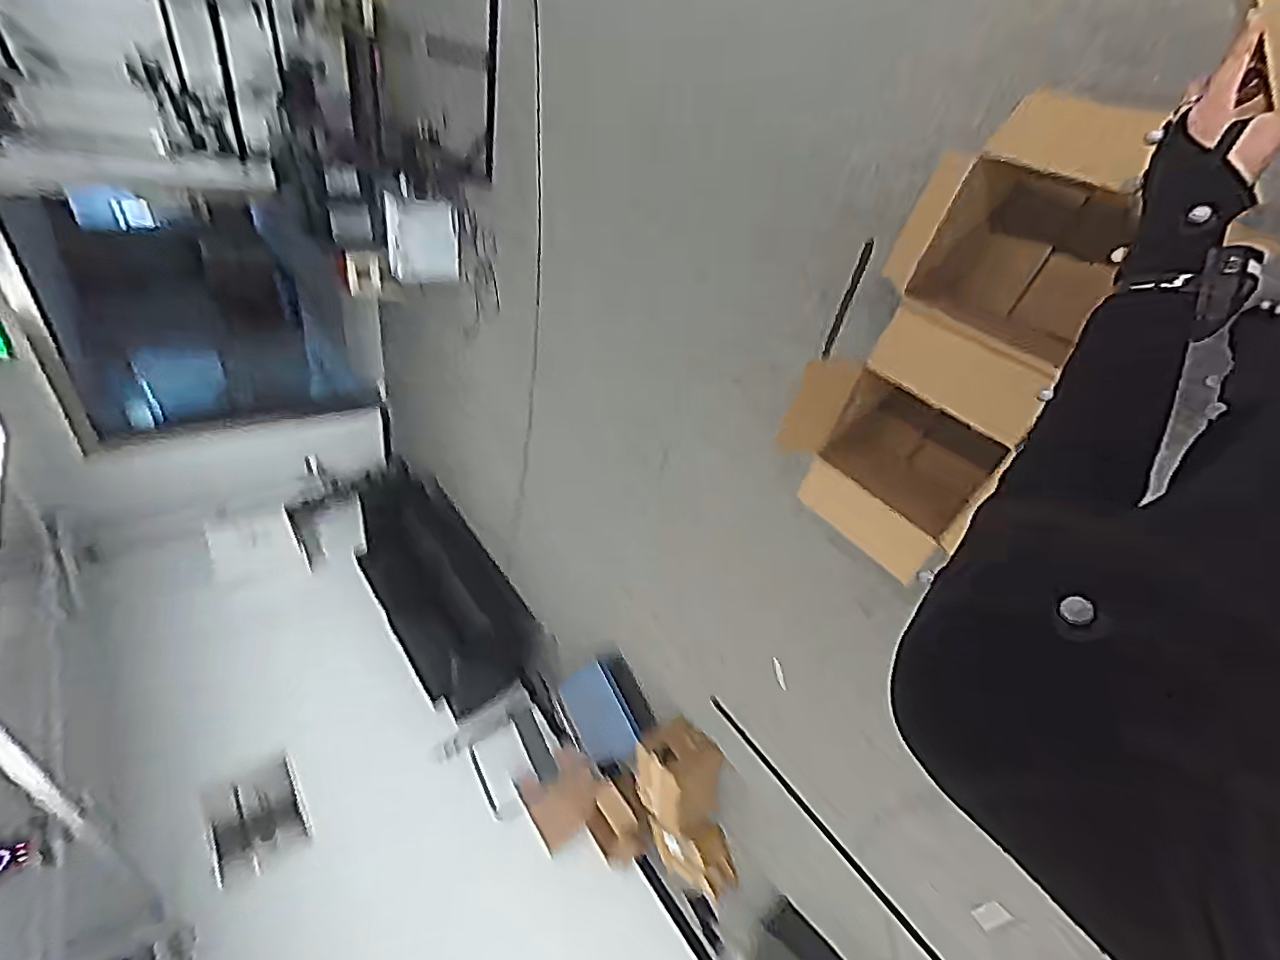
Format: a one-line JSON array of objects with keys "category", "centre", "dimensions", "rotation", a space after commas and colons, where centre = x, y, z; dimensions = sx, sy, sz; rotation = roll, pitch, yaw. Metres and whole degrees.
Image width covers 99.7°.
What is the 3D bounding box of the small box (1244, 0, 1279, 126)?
[{"category": "small box", "centre": [0.578, -0.402, 0.399], "dimensions": [0.168, 0.176, 0.179], "rotation": [-8, 112, 47]}]
